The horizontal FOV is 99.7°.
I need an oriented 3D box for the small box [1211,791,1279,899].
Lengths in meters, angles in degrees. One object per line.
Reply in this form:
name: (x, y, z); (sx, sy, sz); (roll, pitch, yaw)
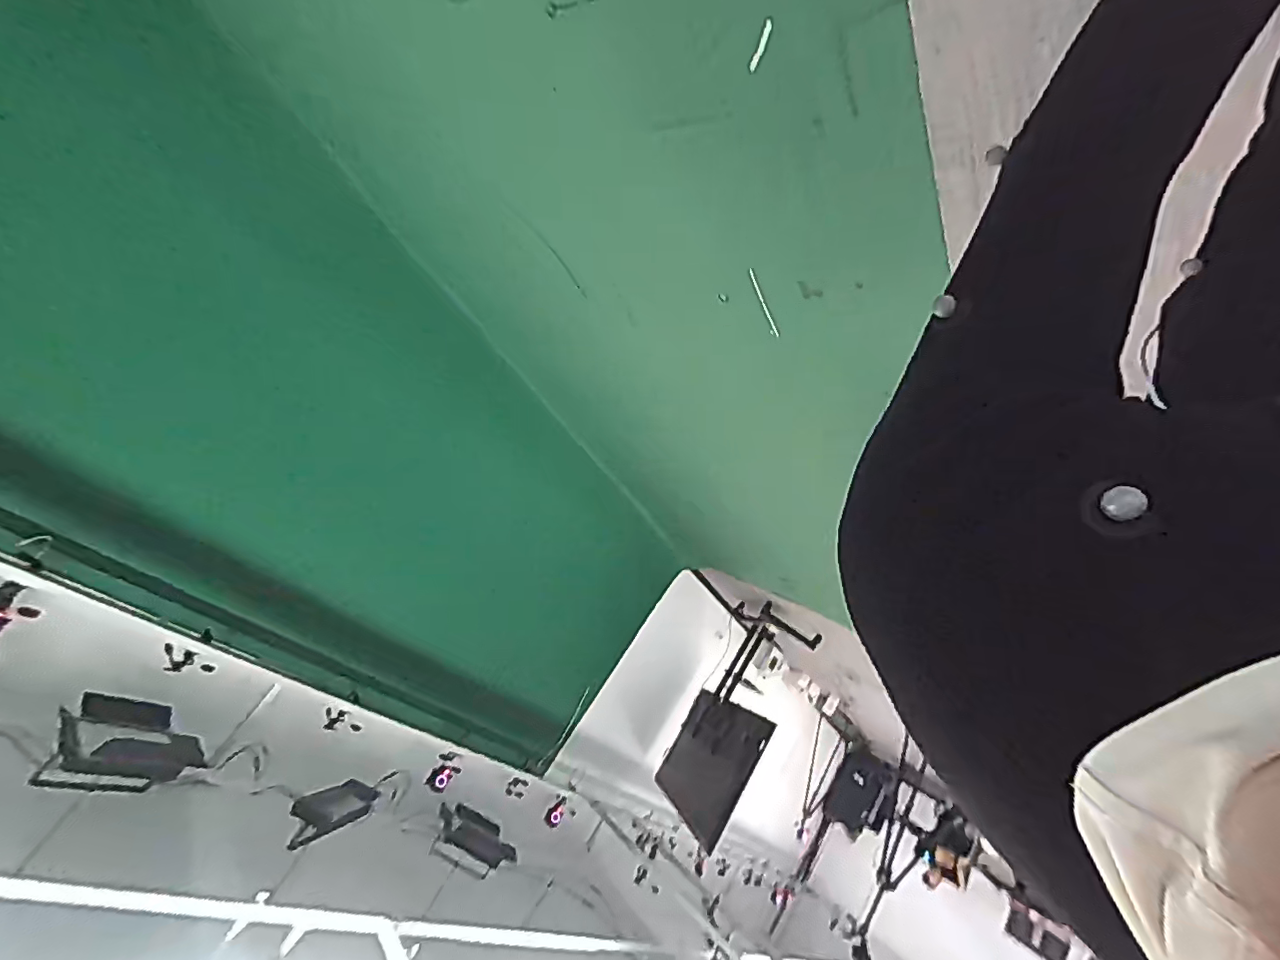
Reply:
small box: (1.503, 0.876, 1.283); (0.168, 0.176, 0.179); (16, 154, 48)

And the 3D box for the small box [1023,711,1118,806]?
small box: (1.248, 0.799, 1.570); (0.179, 0.176, 0.168); (17, 155, 47)
